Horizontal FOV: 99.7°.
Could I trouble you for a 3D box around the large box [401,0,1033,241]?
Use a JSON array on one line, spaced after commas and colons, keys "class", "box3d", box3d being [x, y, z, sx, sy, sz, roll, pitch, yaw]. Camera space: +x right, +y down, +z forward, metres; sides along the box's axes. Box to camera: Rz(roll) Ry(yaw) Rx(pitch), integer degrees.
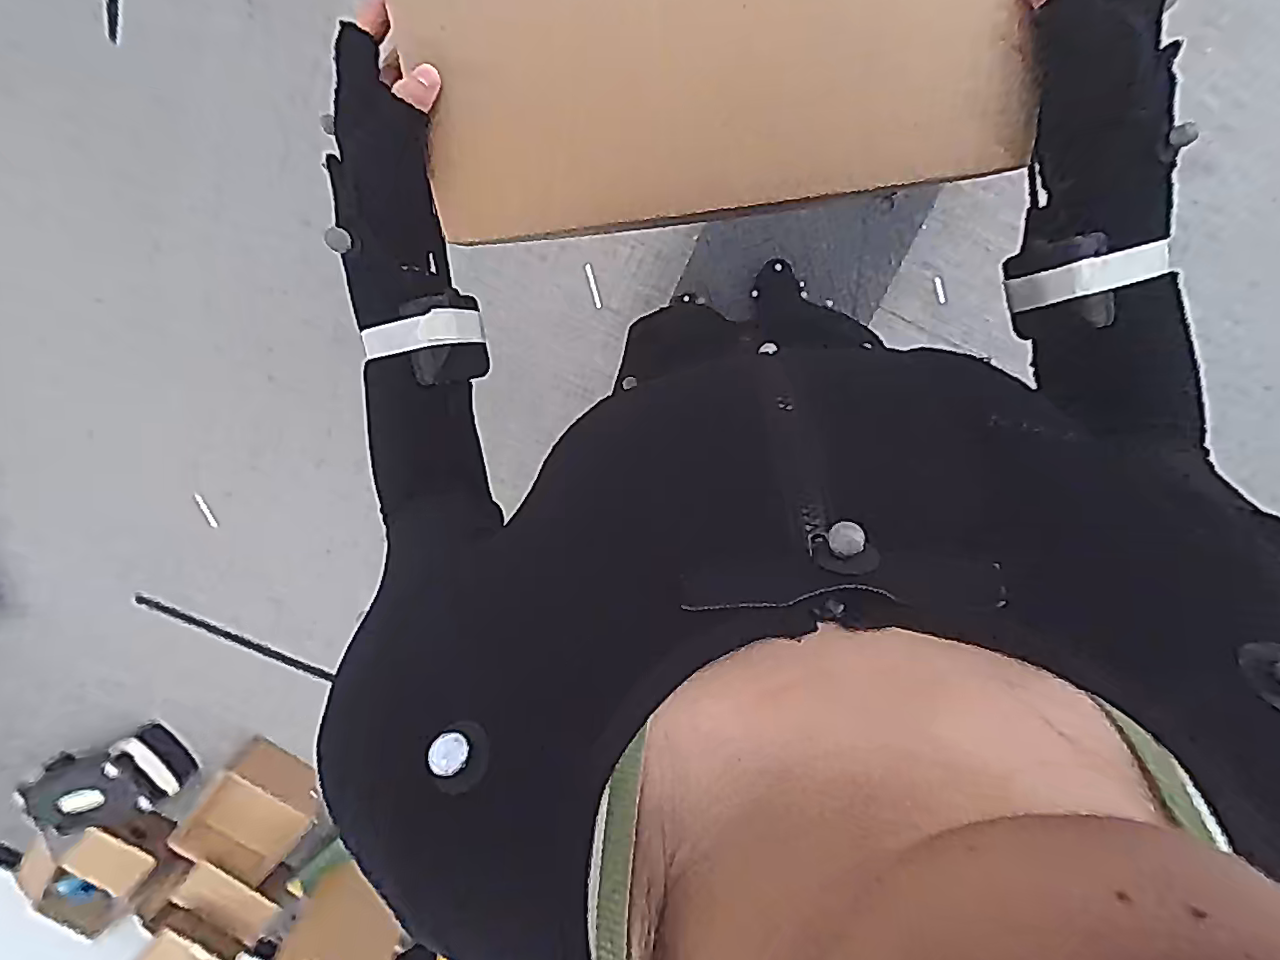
[{"class": "large box", "box3d": [0.046, -0.396, 0.459, 0.408, 0.320, 0.320, -5, 114, 3]}]
